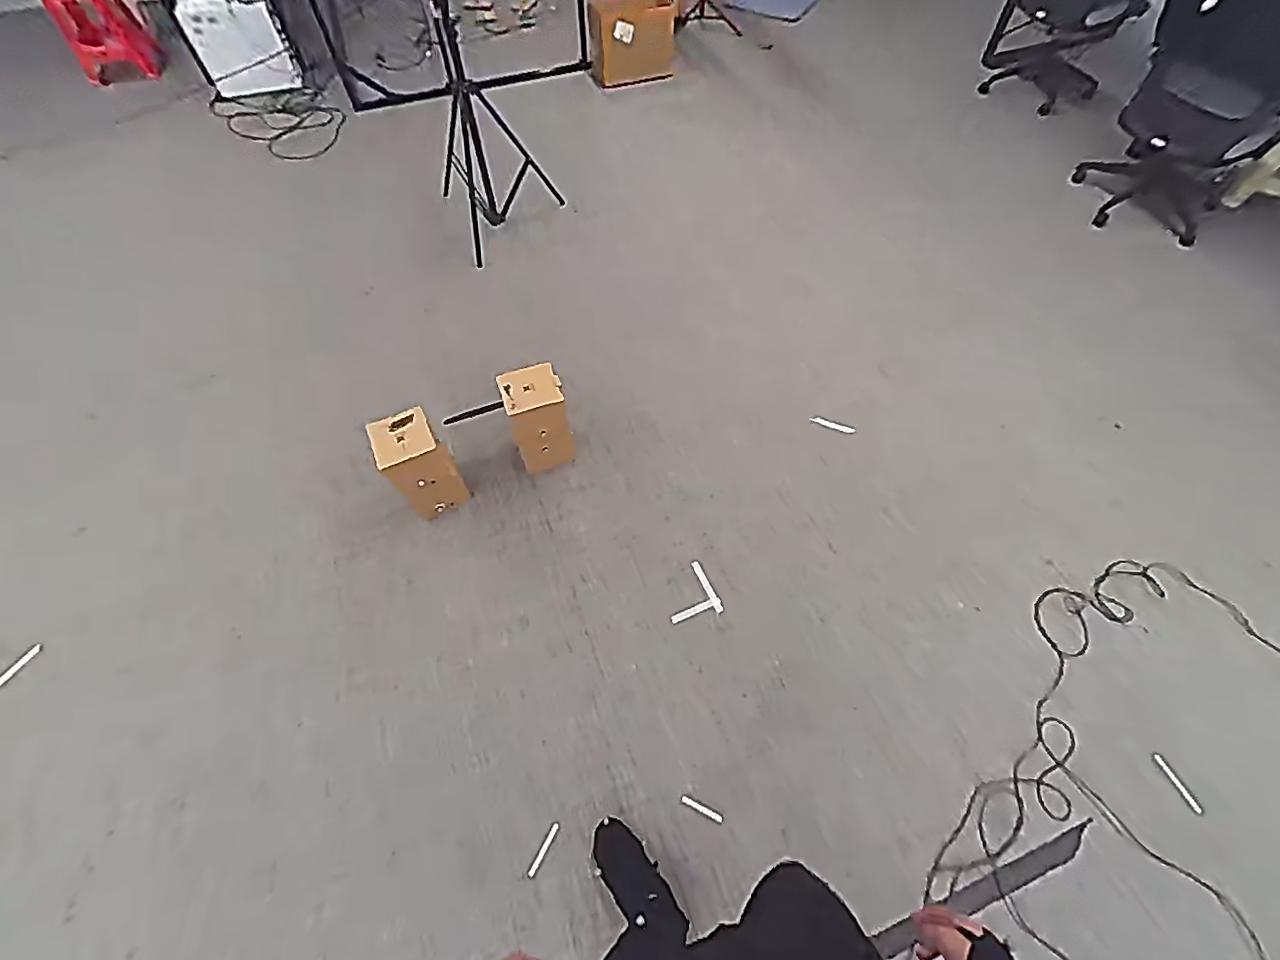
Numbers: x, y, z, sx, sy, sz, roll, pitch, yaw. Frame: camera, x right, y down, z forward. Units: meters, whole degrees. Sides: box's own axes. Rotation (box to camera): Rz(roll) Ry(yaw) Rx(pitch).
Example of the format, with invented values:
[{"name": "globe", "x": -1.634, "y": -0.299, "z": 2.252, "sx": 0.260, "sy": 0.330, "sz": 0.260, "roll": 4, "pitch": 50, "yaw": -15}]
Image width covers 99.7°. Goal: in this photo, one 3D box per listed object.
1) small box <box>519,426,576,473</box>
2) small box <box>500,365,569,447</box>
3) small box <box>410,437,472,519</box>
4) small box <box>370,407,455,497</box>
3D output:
[{"name": "small box", "x": -0.327, "y": -0.145, "z": 1.847, "sx": 0.179, "sy": 0.176, "sz": 0.168, "roll": -18, "pitch": 61, "yaw": -11}, {"name": "small box", "x": -0.328, "y": -0.231, "z": 1.707, "sx": 0.179, "sy": 0.176, "sz": 0.168, "roll": -17, "pitch": 60, "yaw": -11}, {"name": "small box", "x": -0.671, "y": -0.003, "z": 1.764, "sx": 0.168, "sy": 0.176, "sz": 0.179, "roll": -25, "pitch": 62, "yaw": -13}, {"name": "small box", "x": -0.678, "y": -0.081, "z": 1.620, "sx": 0.168, "sy": 0.176, "sz": 0.179, "roll": -23, "pitch": 62, "yaw": -12}]
